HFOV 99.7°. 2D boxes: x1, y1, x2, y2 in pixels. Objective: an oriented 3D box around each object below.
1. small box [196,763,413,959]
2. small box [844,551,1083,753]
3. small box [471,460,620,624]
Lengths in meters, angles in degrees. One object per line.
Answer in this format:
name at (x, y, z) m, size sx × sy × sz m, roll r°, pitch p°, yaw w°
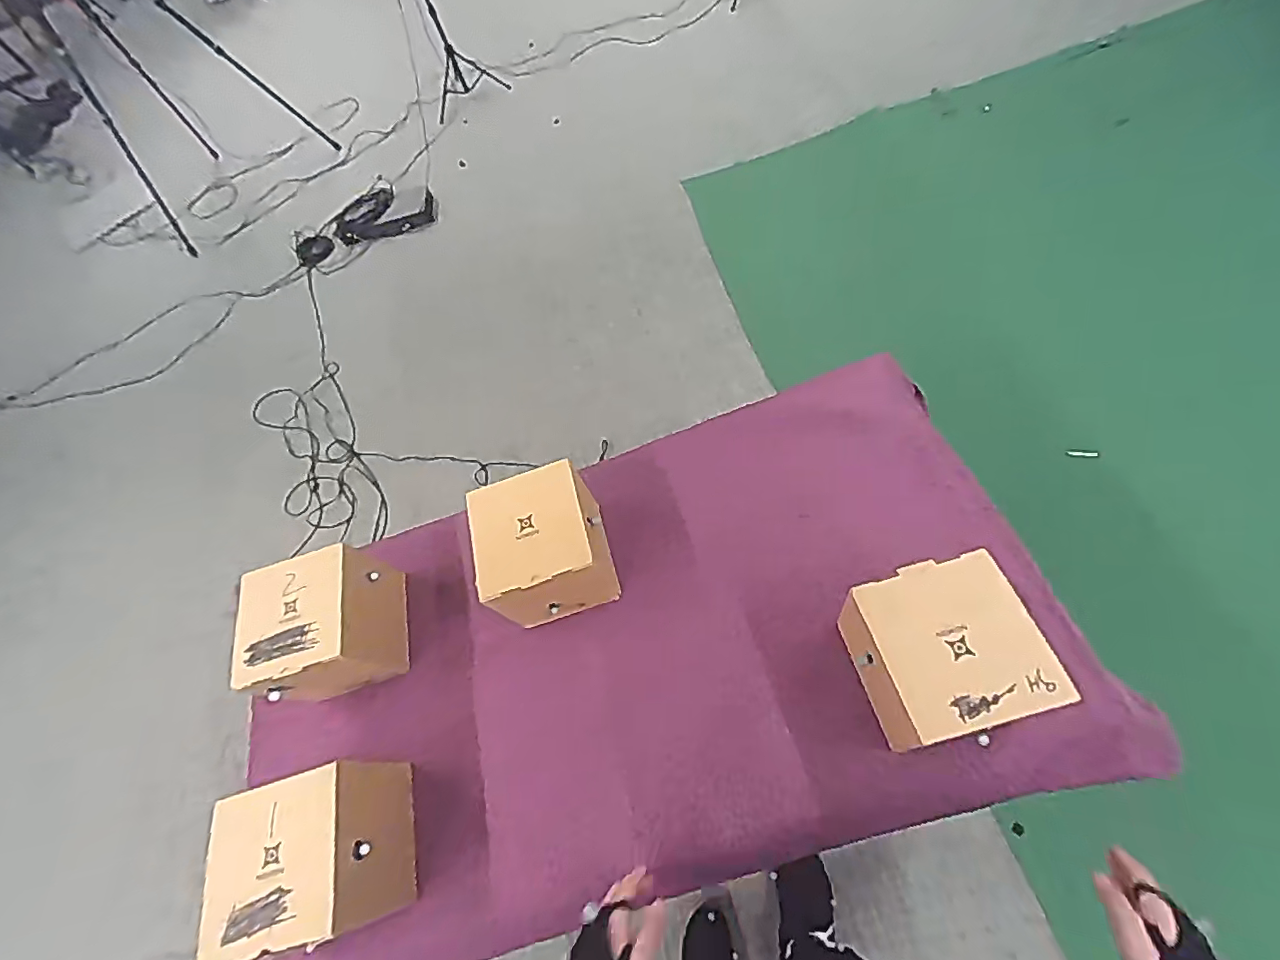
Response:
small box at (-0.409, 0.476, 0.690) m, size 0.168 × 0.176 × 0.179 m, roll -18°, pitch 60°, yaw 2°
small box at (0.364, 0.214, 0.656) m, size 0.168 × 0.176 × 0.179 m, roll -18°, pitch 58°, yaw 4°
small box at (-0.140, 0.101, 0.833) m, size 0.168 × 0.176 × 0.179 m, roll -19°, pitch 62°, yaw 2°
